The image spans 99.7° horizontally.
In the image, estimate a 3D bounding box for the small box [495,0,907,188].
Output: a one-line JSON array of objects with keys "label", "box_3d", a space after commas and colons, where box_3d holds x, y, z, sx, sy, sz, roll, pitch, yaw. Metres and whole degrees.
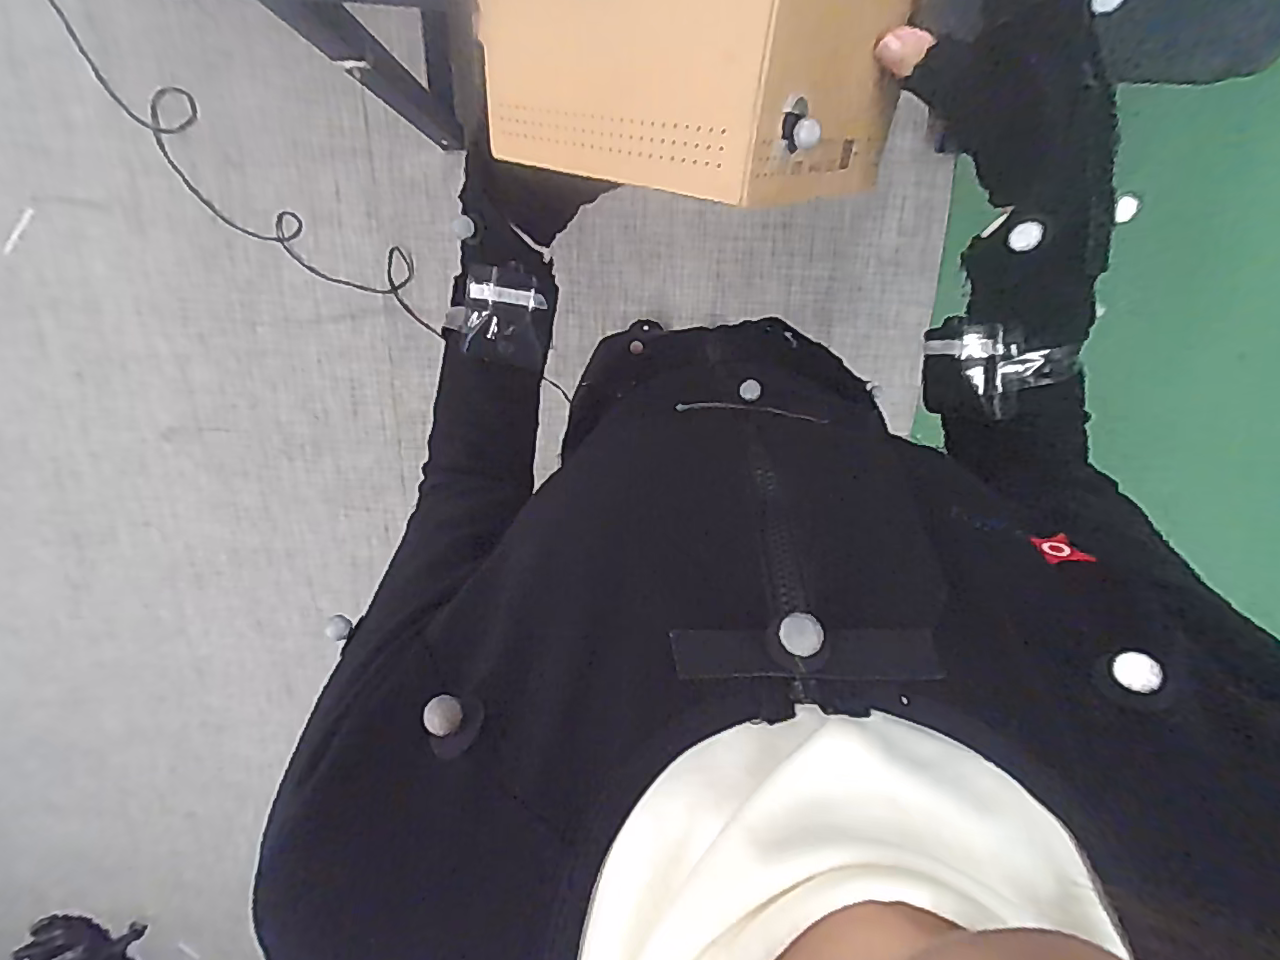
[{"label": "small box", "box_3d": [0.038, -0.263, 0.297, 0.179, 0.168, 0.176, 28, 131, 30]}]
